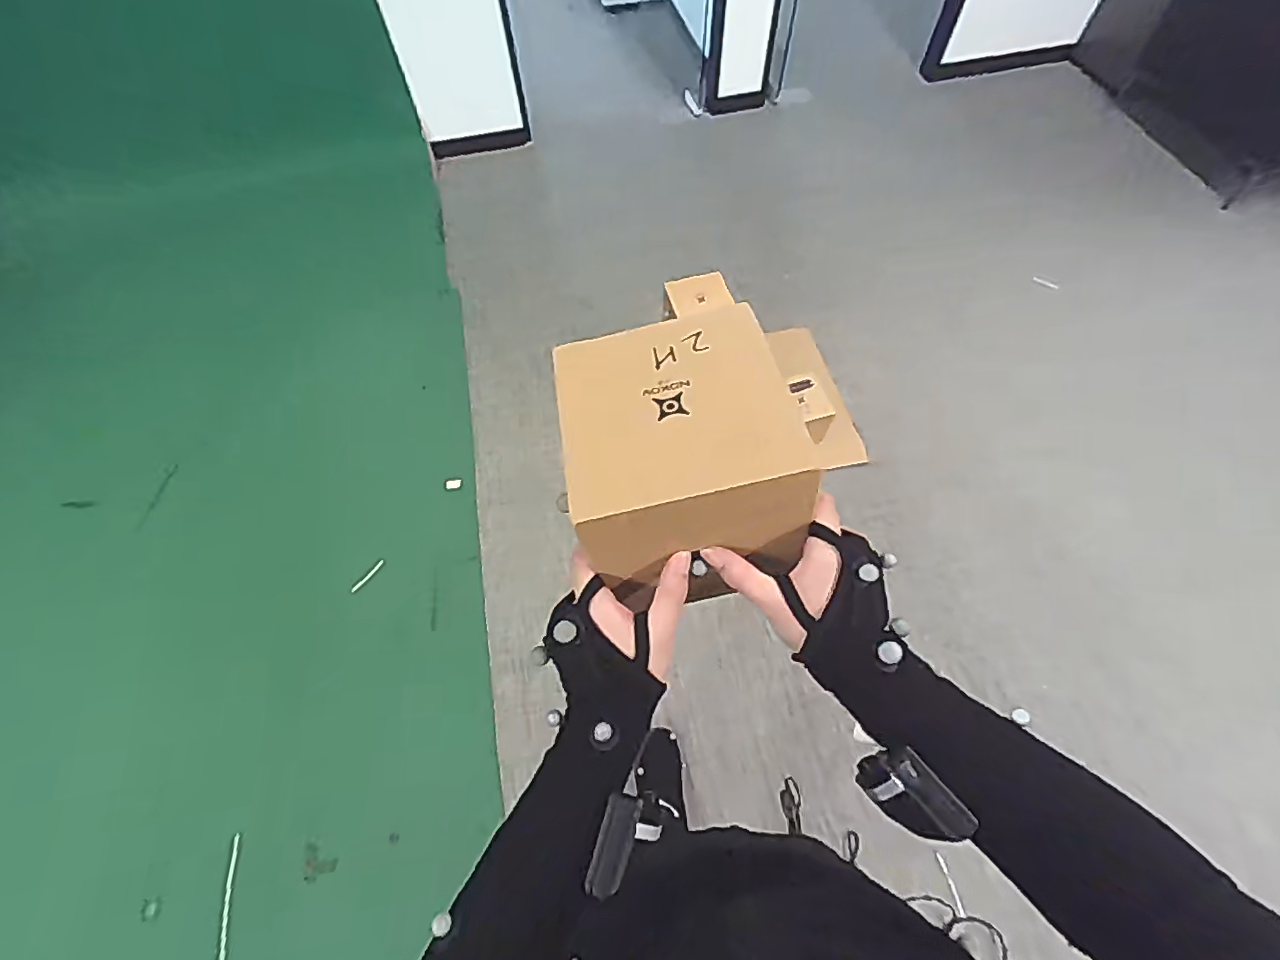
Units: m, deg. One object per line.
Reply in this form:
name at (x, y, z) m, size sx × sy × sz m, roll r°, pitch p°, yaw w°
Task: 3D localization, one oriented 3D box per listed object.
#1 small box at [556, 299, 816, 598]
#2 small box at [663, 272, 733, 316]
small box at (0.034, -0.016, 0.453) m, size 0.168 × 0.176 × 0.179 m, roll -12°, pitch 53°, yaw 2°
small box at (0.169, -0.448, 1.528) m, size 0.168 × 0.176 × 0.179 m, roll -15°, pitch 61°, yaw -5°
